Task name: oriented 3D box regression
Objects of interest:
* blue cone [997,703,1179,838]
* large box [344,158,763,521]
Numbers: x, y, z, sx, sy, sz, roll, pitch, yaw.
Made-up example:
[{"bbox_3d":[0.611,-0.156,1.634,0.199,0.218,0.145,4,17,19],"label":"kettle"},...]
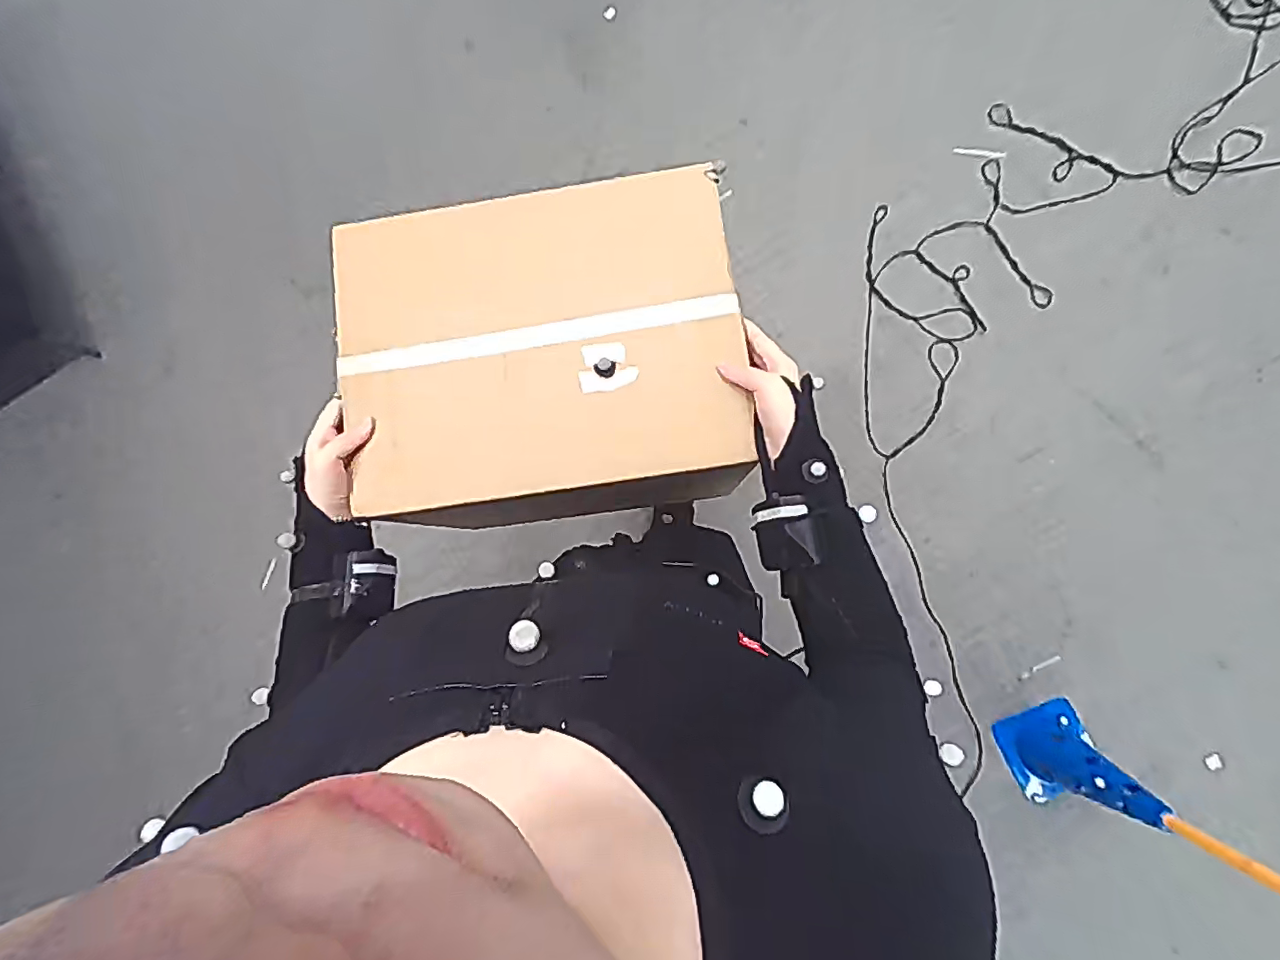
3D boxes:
[{"bbox_3d":[0.971,0.638,1.156,0.193,0.380,0.192,-24,81,4],"label":"blue cone"},{"bbox_3d":[-0.092,-0.136,0.693,0.408,0.320,0.320,-8,83,1],"label":"large box"}]
